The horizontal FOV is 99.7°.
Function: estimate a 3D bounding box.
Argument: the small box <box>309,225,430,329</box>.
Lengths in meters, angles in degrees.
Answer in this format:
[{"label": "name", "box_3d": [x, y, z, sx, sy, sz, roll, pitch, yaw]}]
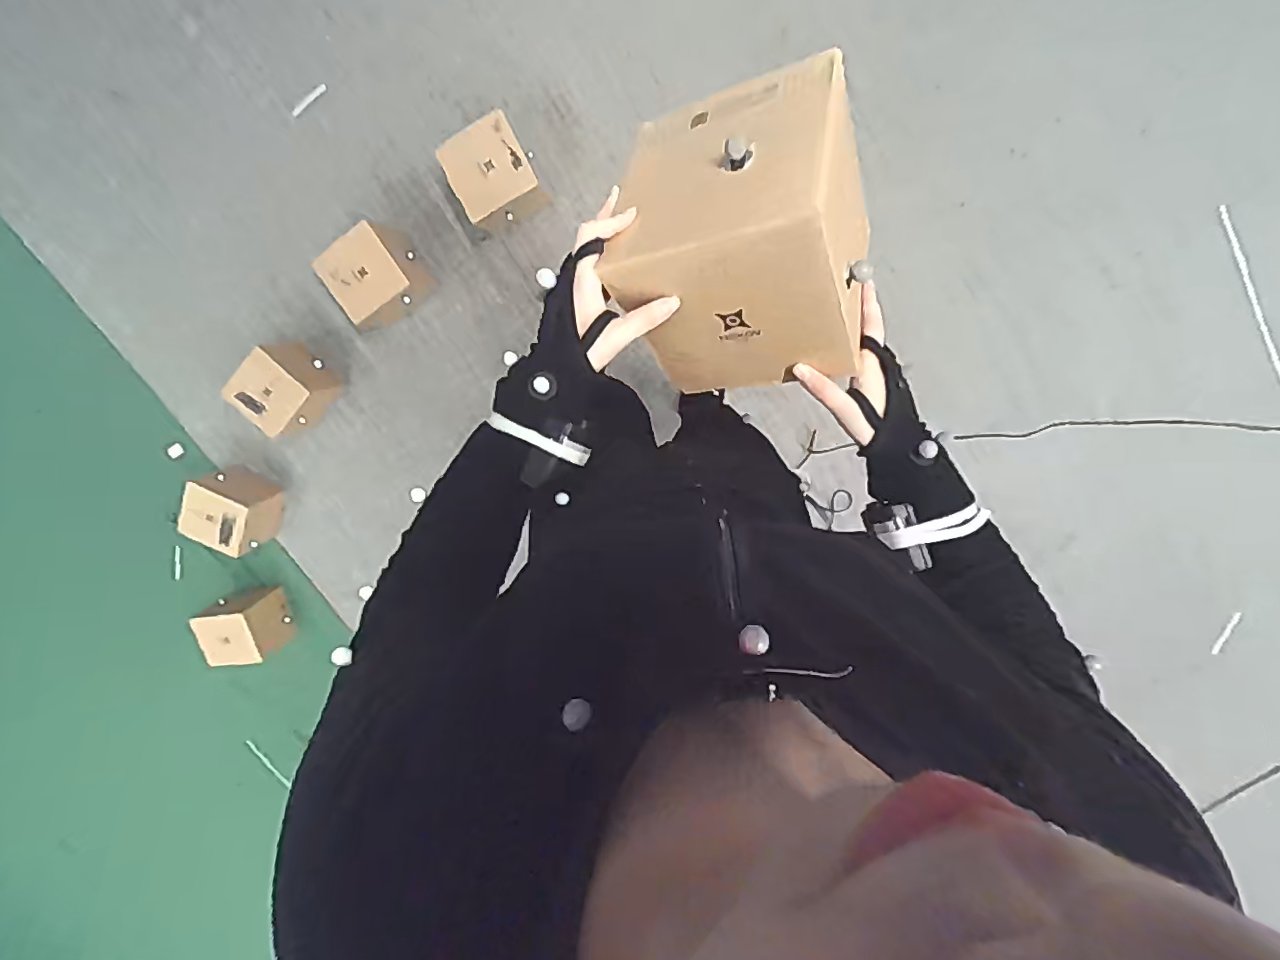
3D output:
[{"label": "small box", "box_3d": [-0.639, -0.484, 1.313, 0.179, 0.176, 0.168, -30, 101, 11]}]

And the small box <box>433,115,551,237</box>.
[{"label": "small box", "box_3d": [-0.328, -0.679, 1.236, 0.179, 0.176, 0.168, -25, 103, 11]}]

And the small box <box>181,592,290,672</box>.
[{"label": "small box", "box_3d": [-1.208, 0.453, 1.625, 0.179, 0.176, 0.168, -7, 106, 6]}]

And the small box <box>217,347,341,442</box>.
[{"label": "small box", "box_3d": [-0.927, -0.226, 1.407, 0.179, 0.176, 0.168, -43, 99, 13]}]
